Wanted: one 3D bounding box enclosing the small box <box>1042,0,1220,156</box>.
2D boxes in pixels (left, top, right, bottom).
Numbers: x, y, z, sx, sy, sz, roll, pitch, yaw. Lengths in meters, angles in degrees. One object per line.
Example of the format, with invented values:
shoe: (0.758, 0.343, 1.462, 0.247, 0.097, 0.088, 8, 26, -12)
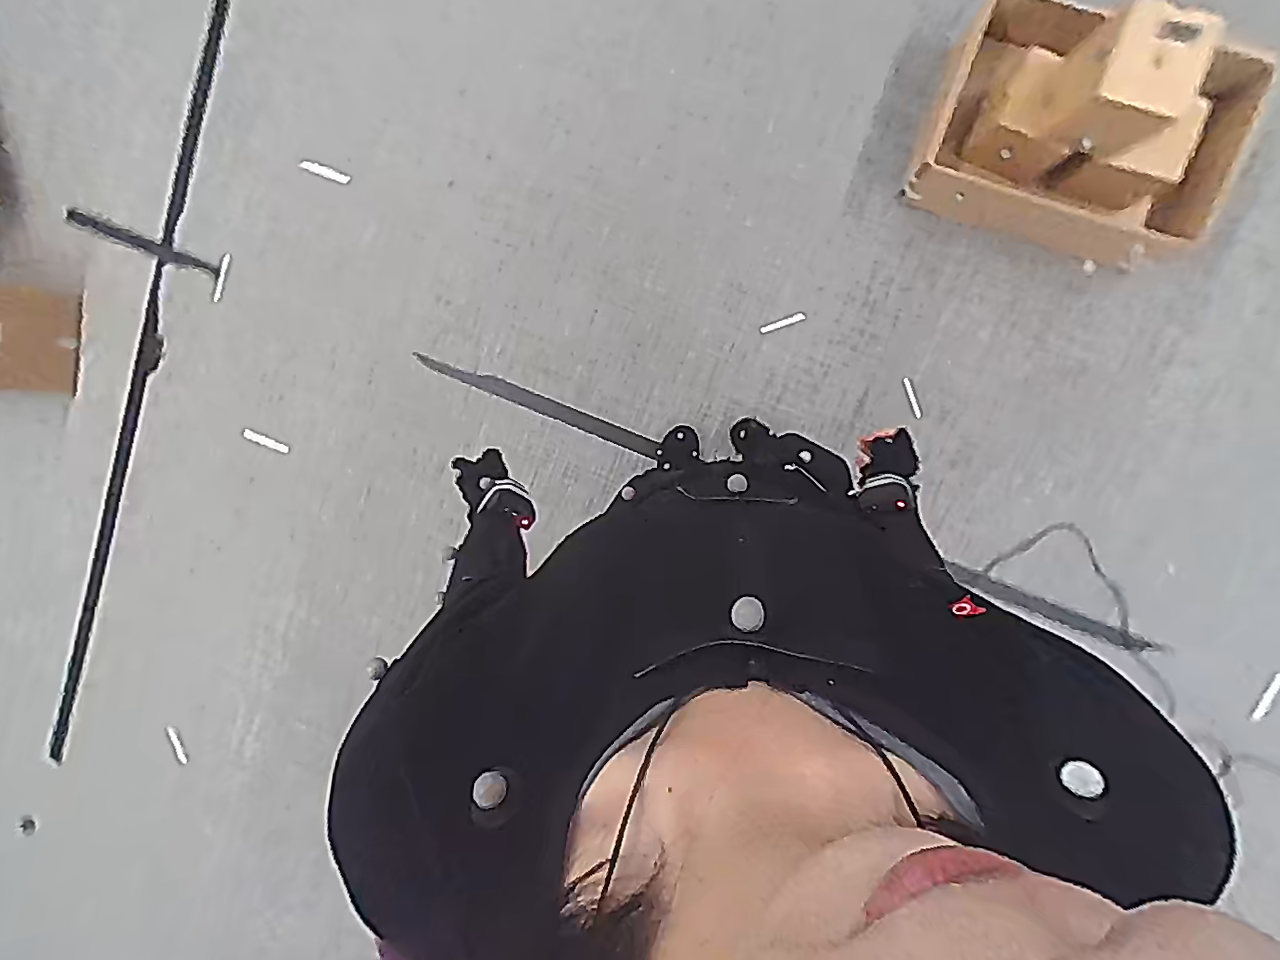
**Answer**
small box: (0.944, -0.780, 1.060, 0.168, 0.176, 0.179, 17, 98, 2)
